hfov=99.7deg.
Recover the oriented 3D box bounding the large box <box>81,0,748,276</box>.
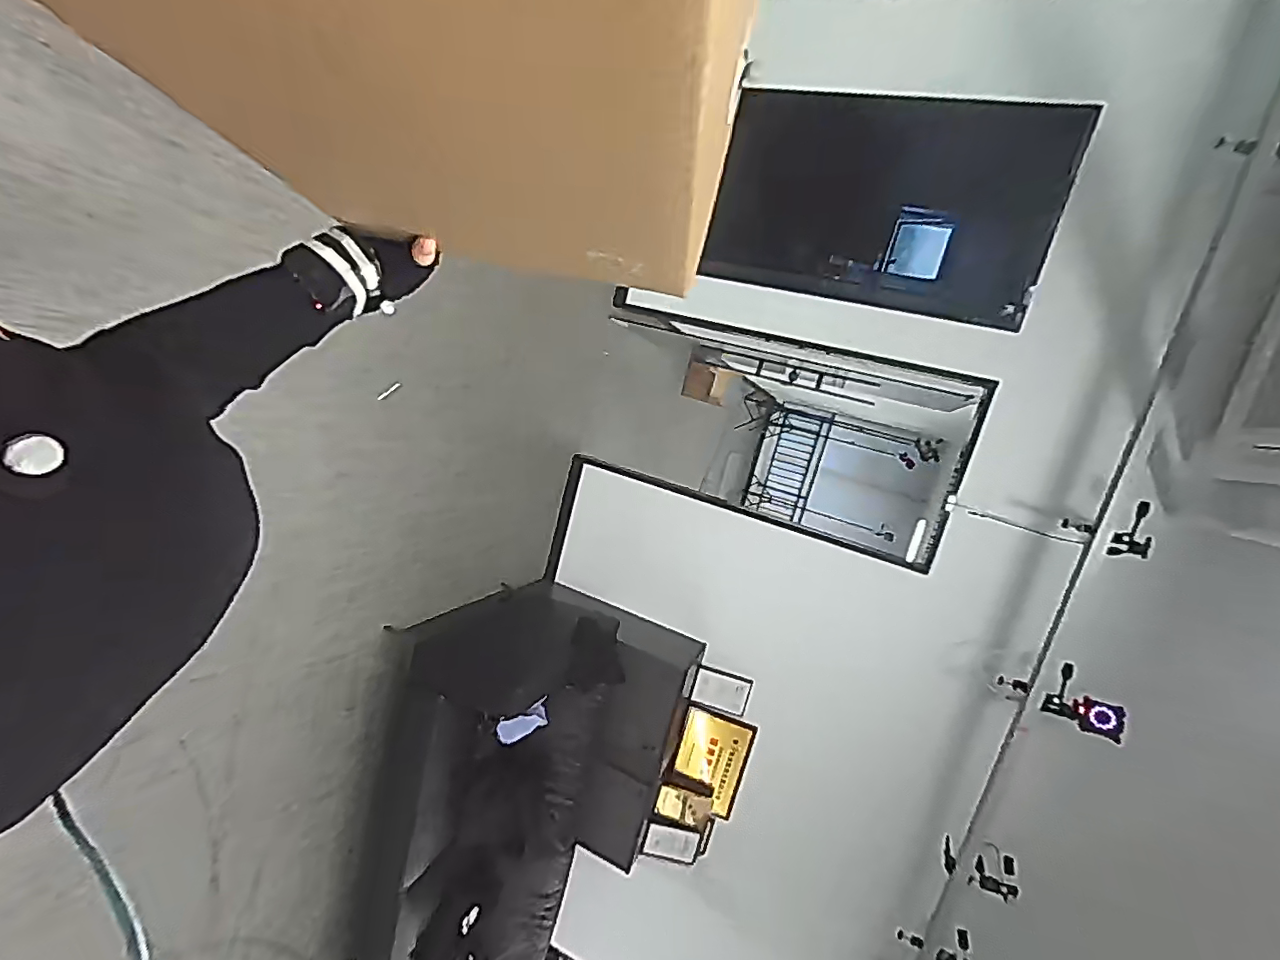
[{"bbox_3d":[-0.087,-0.346,0.285,0.408,0.320,0.320,-57,159,-86],"label":"large box"}]
